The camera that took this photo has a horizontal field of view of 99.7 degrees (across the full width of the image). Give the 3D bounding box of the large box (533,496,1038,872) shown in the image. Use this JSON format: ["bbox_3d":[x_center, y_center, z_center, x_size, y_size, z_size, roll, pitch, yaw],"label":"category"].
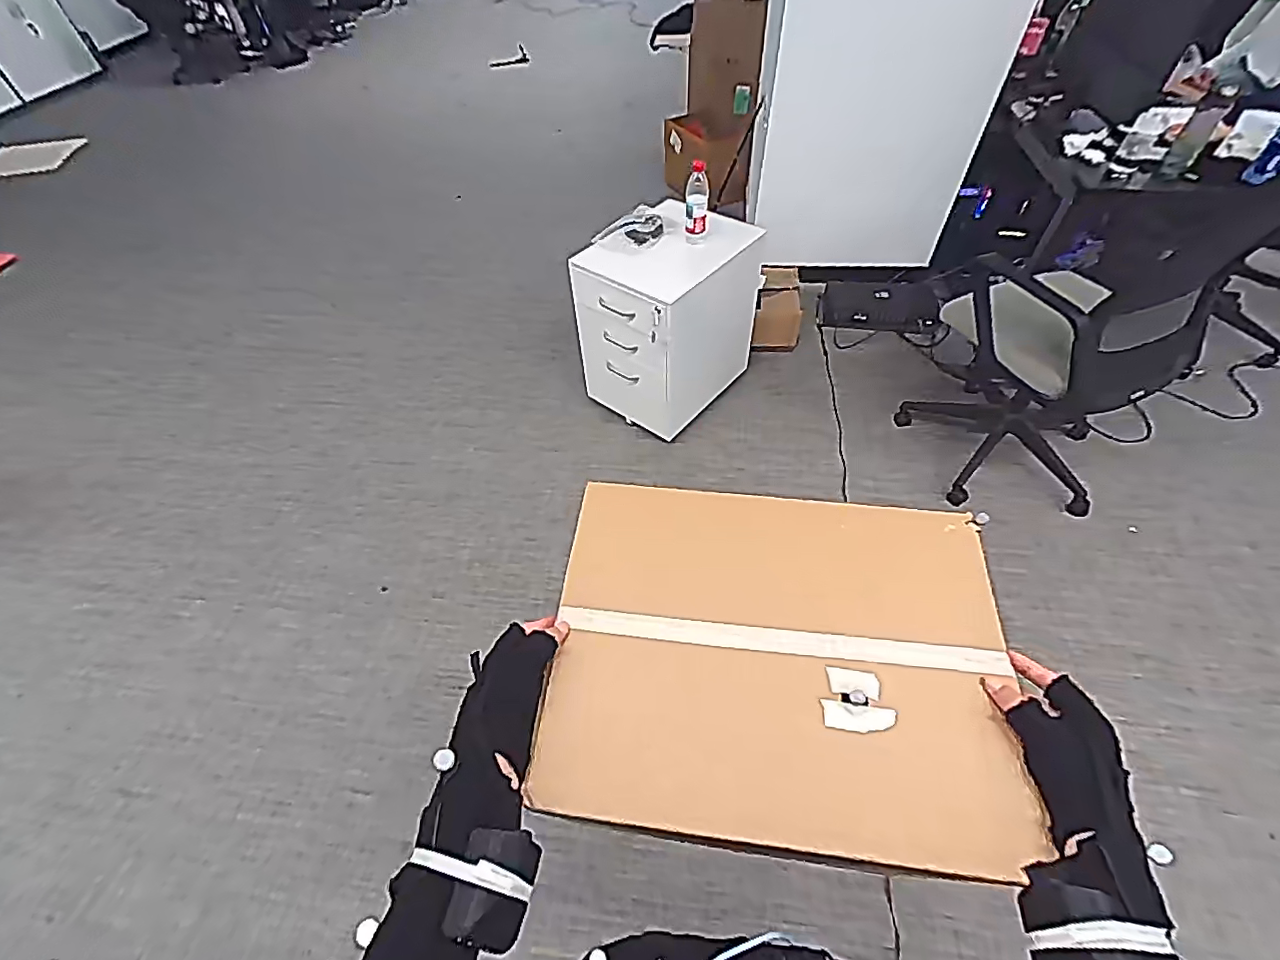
[{"bbox_3d":[0.128,0.240,0.631,0.408,0.320,0.320,5,57,6],"label":"large box"}]
